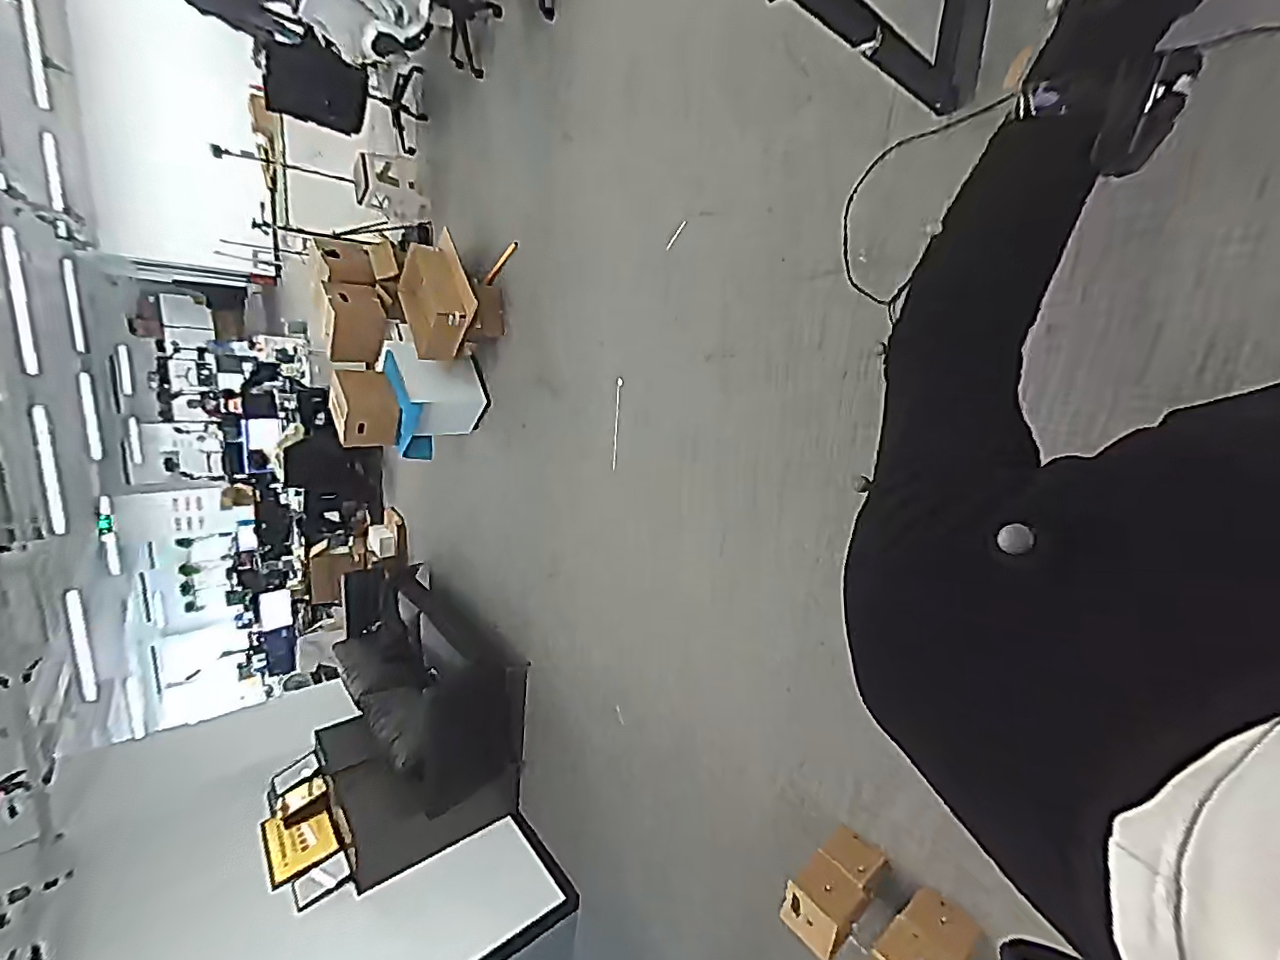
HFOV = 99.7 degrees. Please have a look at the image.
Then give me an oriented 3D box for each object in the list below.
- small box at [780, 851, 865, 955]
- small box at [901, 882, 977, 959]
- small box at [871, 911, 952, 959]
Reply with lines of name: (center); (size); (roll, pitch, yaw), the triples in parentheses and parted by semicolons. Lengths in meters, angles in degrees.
small box: (0.580, 1.329, 1.721); (0.179, 0.176, 0.168); (24, 114, 46)
small box: (0.880, 1.367, 1.620); (0.168, 0.176, 0.179); (24, 113, 47)
small box: (0.754, 1.380, 1.520); (0.168, 0.176, 0.179); (20, 111, 47)
